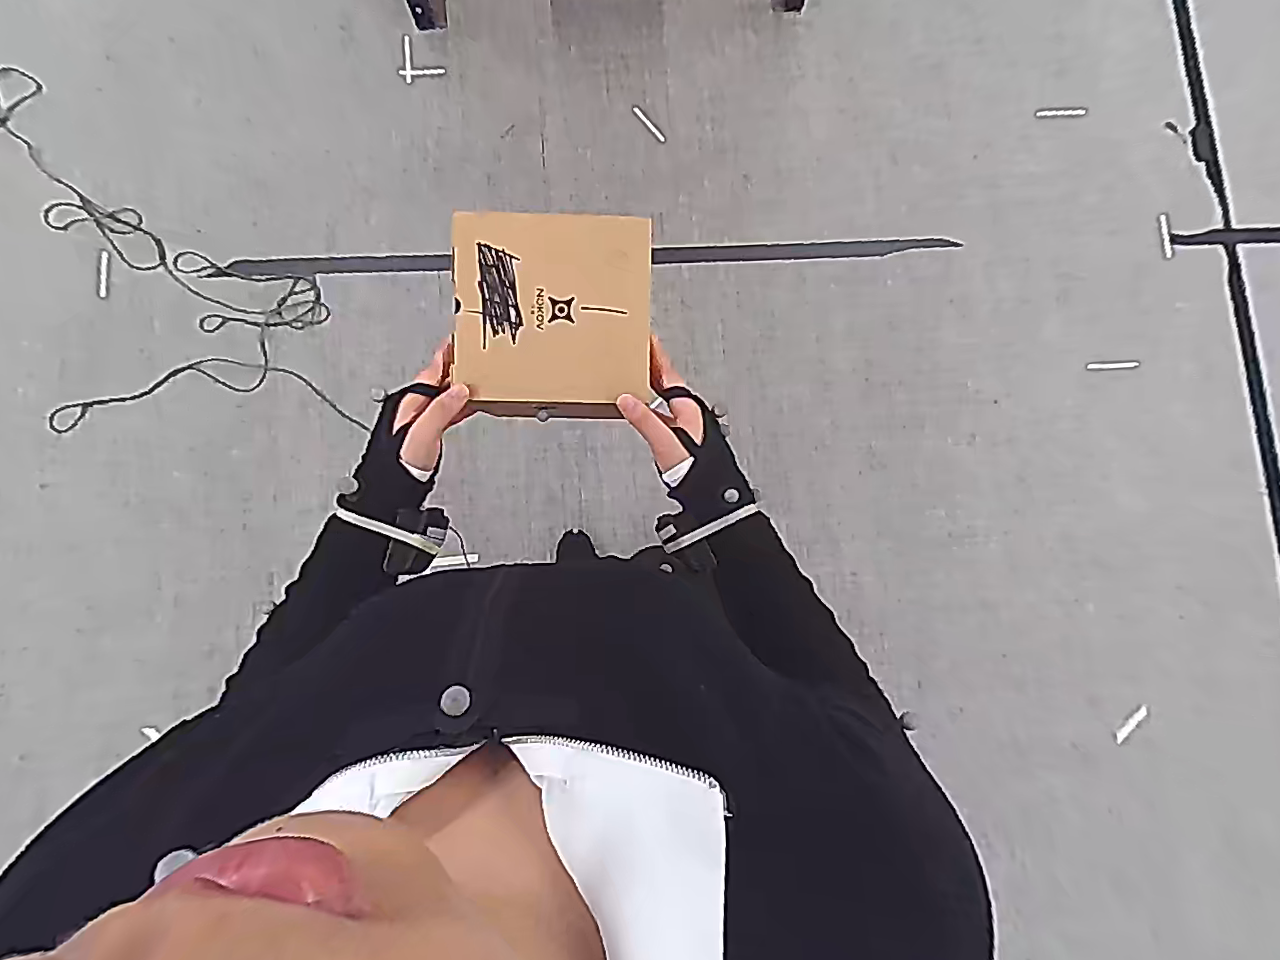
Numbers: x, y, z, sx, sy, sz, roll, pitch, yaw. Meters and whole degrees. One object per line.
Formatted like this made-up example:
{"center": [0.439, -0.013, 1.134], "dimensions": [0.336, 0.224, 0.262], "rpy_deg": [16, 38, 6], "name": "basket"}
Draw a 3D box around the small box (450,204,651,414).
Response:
{"center": [-0.081, -0.159, 0.556], "dimensions": [0.179, 0.176, 0.168], "rpy_deg": [1, 91, -3], "name": "small box"}
